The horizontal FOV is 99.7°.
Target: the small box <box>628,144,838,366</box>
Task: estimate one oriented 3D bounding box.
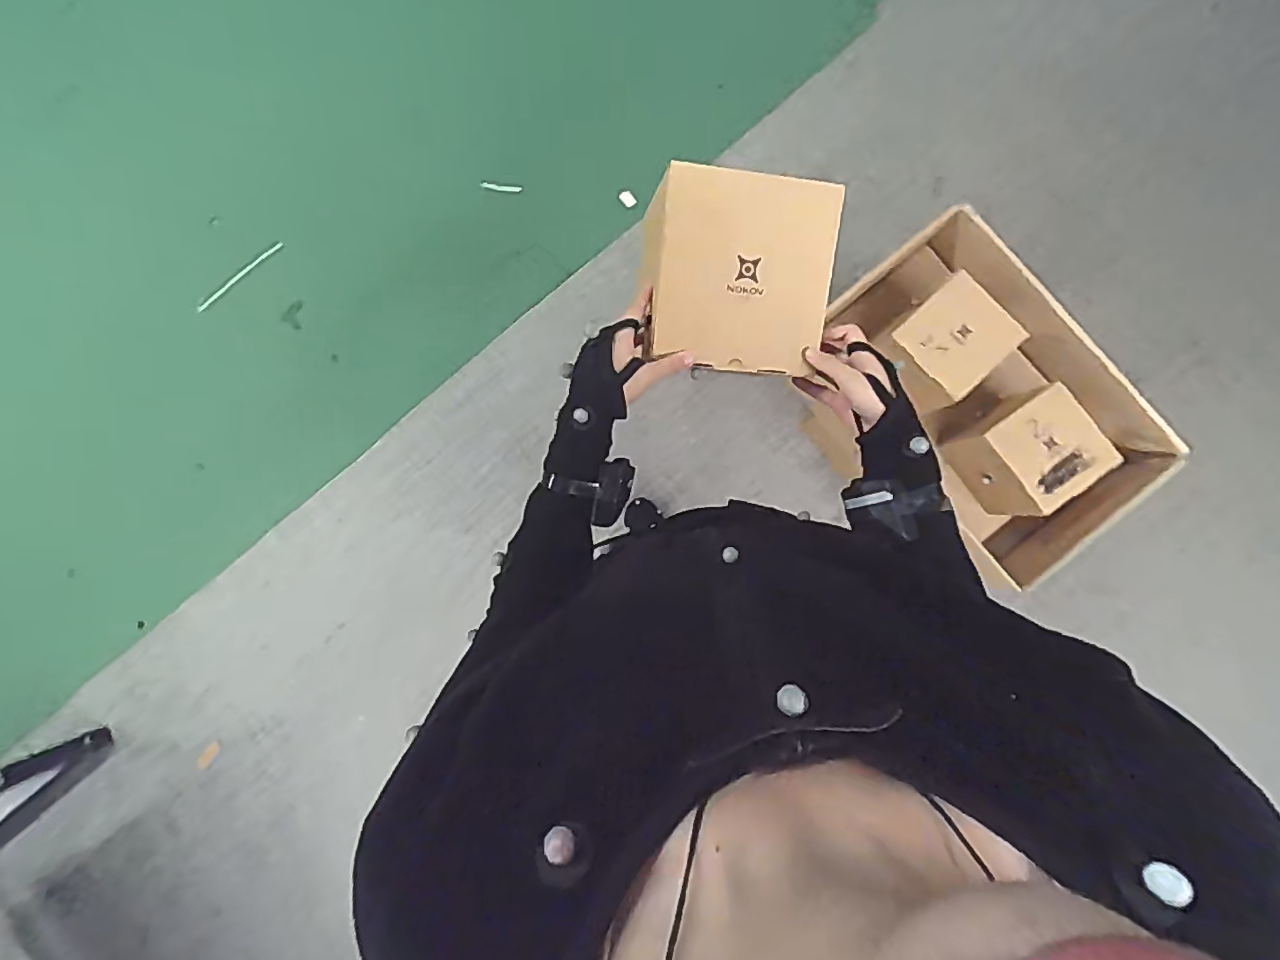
[{"bbox_3d":[0.081,-0.217,0.570,0.168,0.176,0.179,4,103,-8],"label":"small box"}]

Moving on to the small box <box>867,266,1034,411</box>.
[{"bbox_3d":[0.565,-0.254,1.012,0.179,0.176,0.168,-42,86,0],"label":"small box"}]
